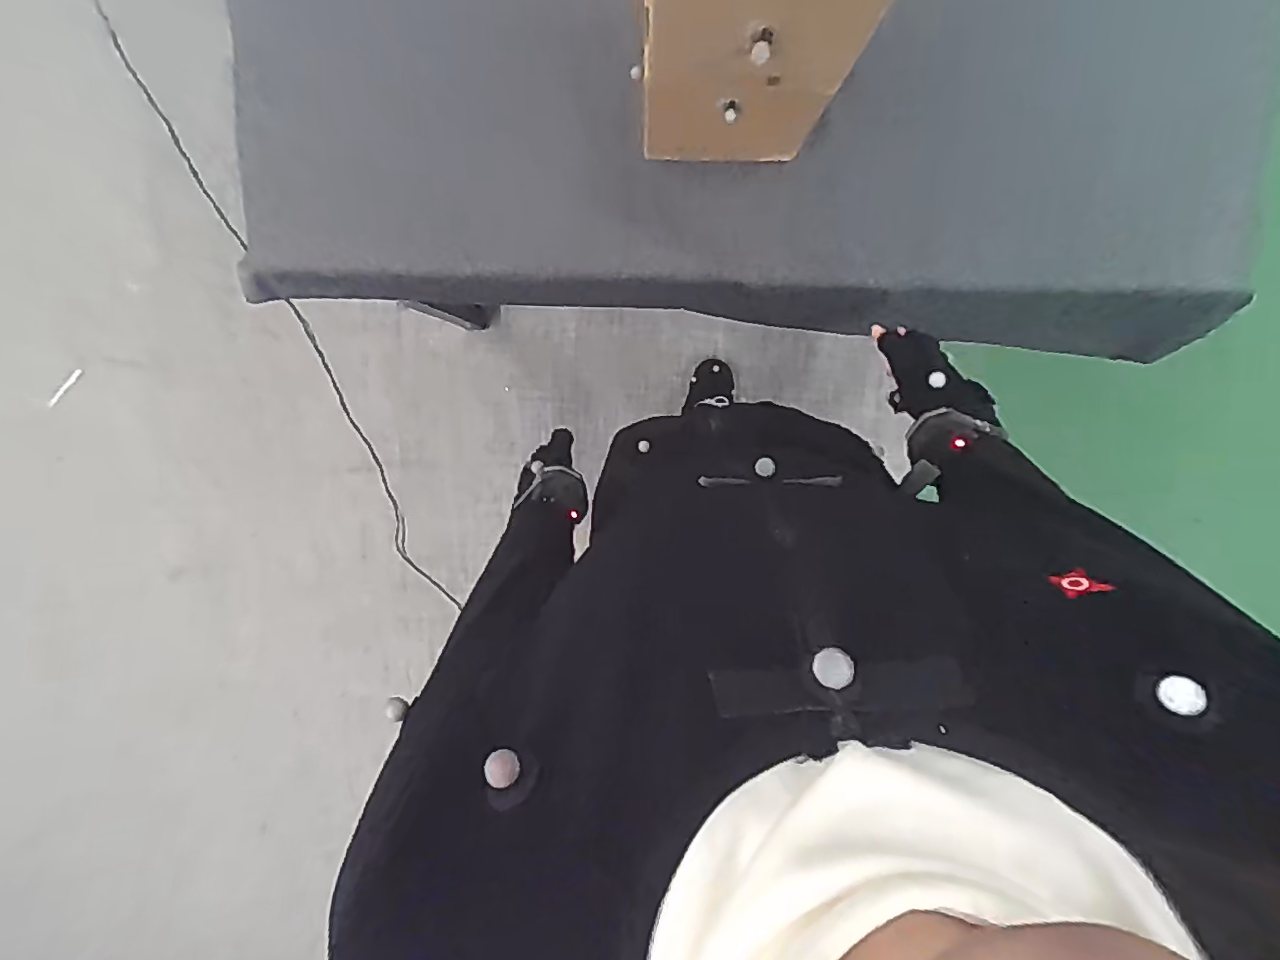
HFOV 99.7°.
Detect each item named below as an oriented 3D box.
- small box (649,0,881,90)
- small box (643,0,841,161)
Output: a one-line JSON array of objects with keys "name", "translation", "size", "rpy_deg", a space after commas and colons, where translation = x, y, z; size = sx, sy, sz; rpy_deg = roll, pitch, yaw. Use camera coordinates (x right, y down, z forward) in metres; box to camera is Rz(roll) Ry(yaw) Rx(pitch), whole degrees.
[{"name": "small box", "translation": [0.090, -0.410, 0.382], "size": [0.168, 0.176, 0.179], "rpy_deg": [1, 100, 1]}, {"name": "small box", "translation": [0.092, -0.442, 0.543], "size": [0.179, 0.176, 0.168], "rpy_deg": [1, 100, 0]}]
